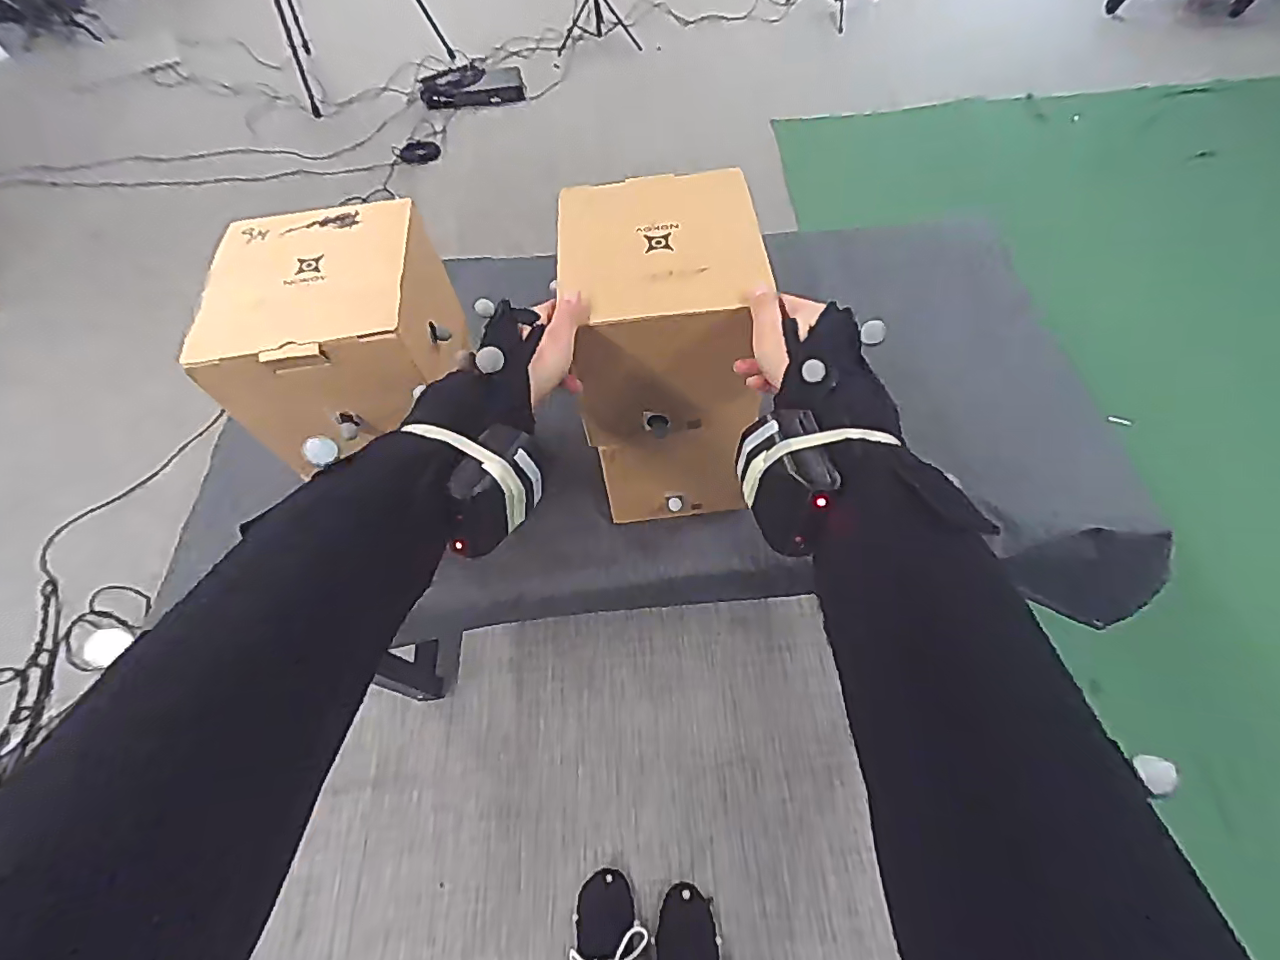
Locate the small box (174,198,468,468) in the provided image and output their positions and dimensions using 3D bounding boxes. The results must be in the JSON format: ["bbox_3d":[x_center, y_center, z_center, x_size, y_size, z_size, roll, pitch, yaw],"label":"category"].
[{"bbox_3d":[-0.269,-0.124,0.507,0.168,0.176,0.179,-9,60,-1],"label":"small box"}]

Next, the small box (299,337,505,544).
[{"bbox_3d":[-0.265,-0.043,0.649,0.168,0.176,0.179,-8,59,-1],"label":"small box"}]

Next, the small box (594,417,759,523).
[{"bbox_3d":[0.033,-0.069,0.642,0.168,0.176,0.179,-7,59,0],"label":"small box"}]

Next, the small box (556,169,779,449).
[{"bbox_3d":[0.020,-0.150,0.502,0.168,0.176,0.179,-6,61,2],"label":"small box"}]
